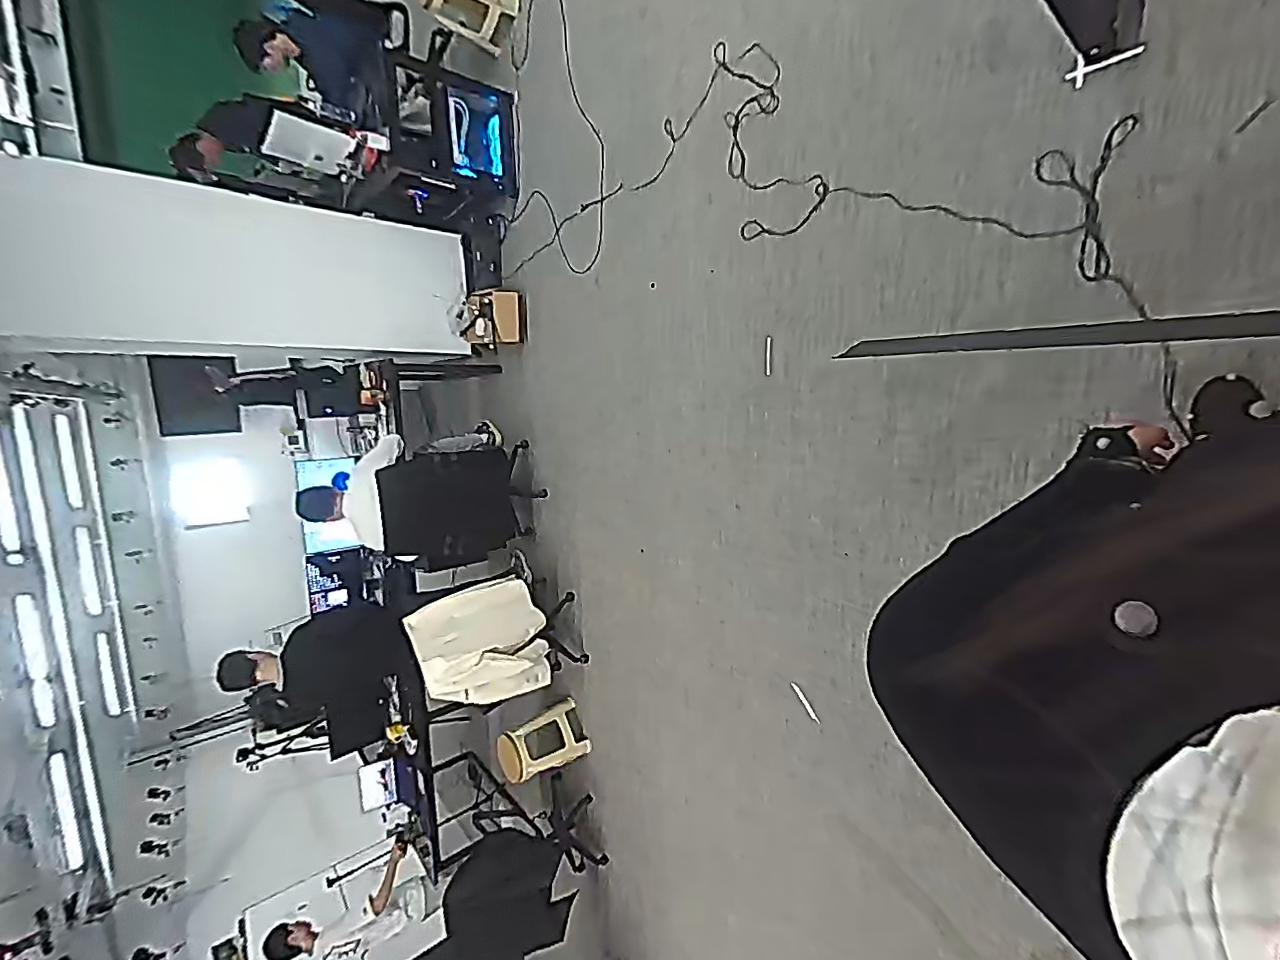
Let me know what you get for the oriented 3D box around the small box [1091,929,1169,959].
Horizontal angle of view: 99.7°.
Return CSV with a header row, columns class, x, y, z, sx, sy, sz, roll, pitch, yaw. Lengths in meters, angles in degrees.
class,x,y,z,sx,sy,sz,roll,pitch,yaw
small box,0.779,0.853,0.813,0.168,0.176,0.179,5,101,48
